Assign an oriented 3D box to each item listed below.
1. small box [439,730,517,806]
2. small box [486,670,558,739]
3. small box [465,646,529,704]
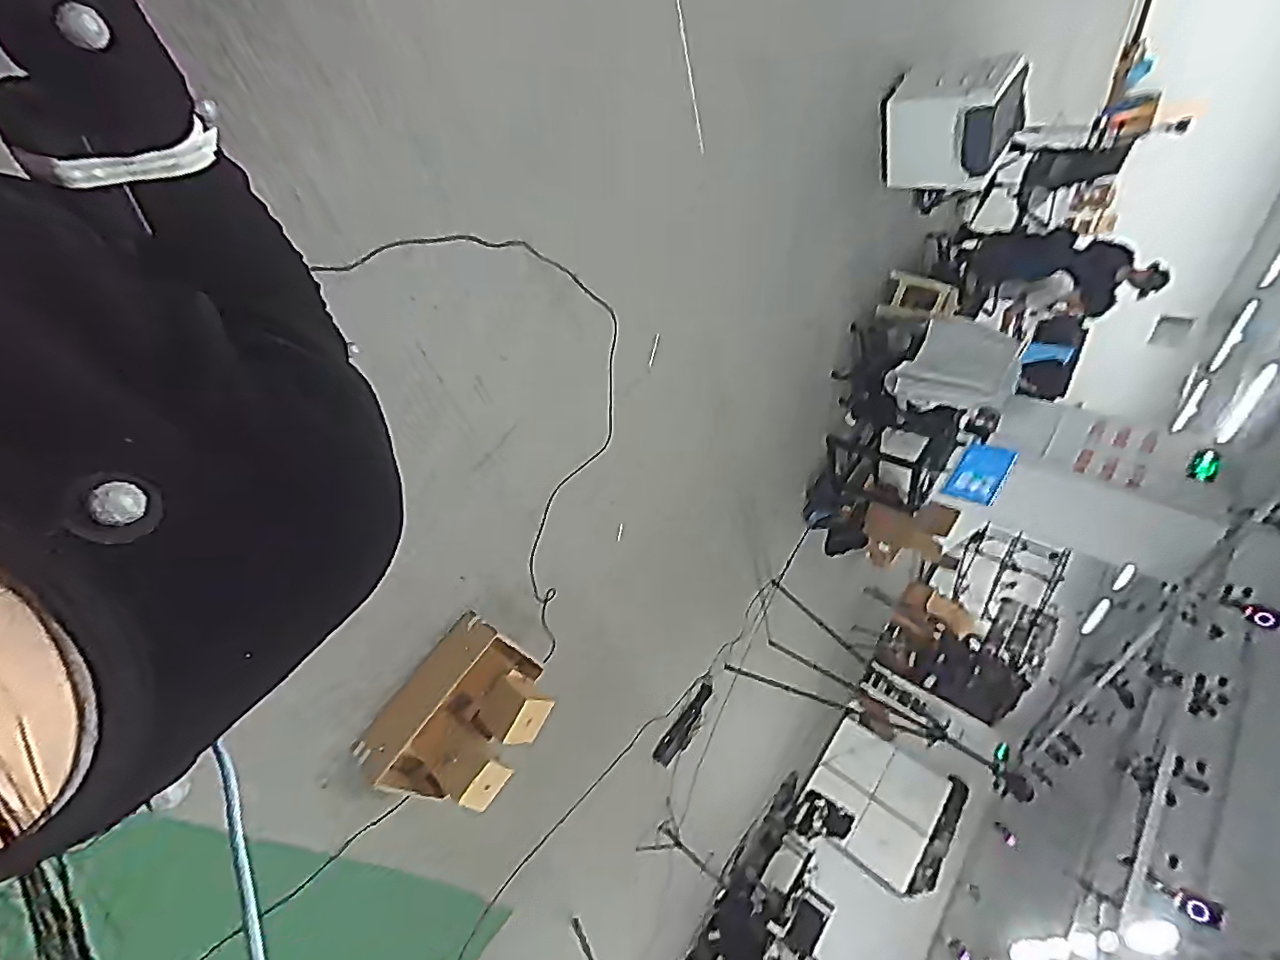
[{"bbox_3d":[-0.589,1.043,1.968,0.168,0.176,0.179,-50,141,-20],"label":"small box"},{"bbox_3d":[-0.450,0.843,2.030,0.168,0.176,0.179,36,82,-52],"label":"small box"},{"bbox_3d":[-0.556,0.790,2.143,0.179,0.176,0.168,-49,140,-17],"label":"small box"}]
